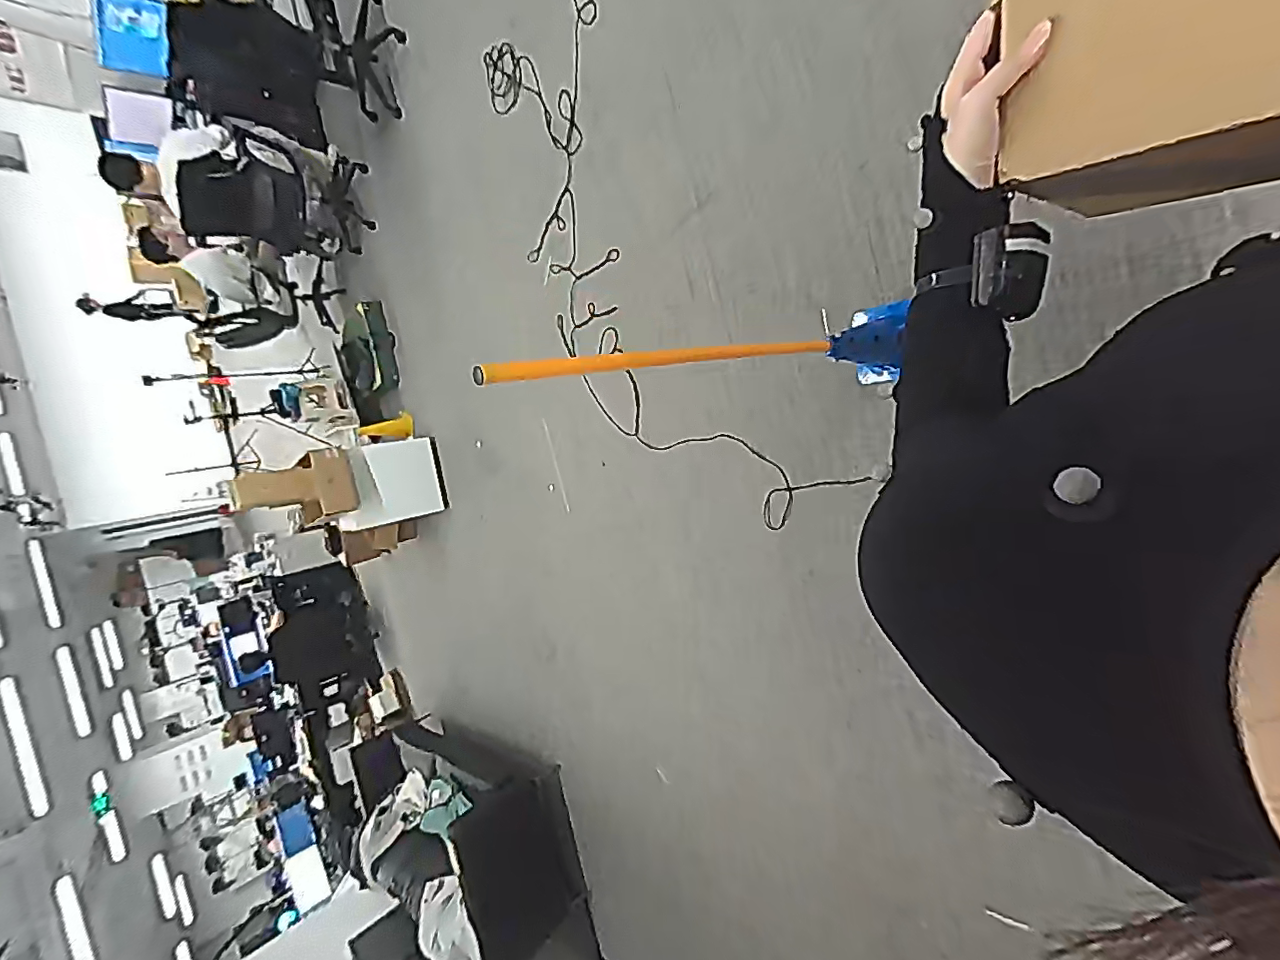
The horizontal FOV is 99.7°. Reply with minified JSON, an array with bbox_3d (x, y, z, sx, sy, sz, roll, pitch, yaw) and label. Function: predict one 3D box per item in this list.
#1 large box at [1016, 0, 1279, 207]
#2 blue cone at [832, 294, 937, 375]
[{"bbox_3d":[0.513,-0.407,0.341,0.408,0.320,0.320,6,109,47],"label":"large box"},{"bbox_3d":[0.567,-0.350,1.330,0.192,0.380,0.193,0,101,46],"label":"blue cone"}]
